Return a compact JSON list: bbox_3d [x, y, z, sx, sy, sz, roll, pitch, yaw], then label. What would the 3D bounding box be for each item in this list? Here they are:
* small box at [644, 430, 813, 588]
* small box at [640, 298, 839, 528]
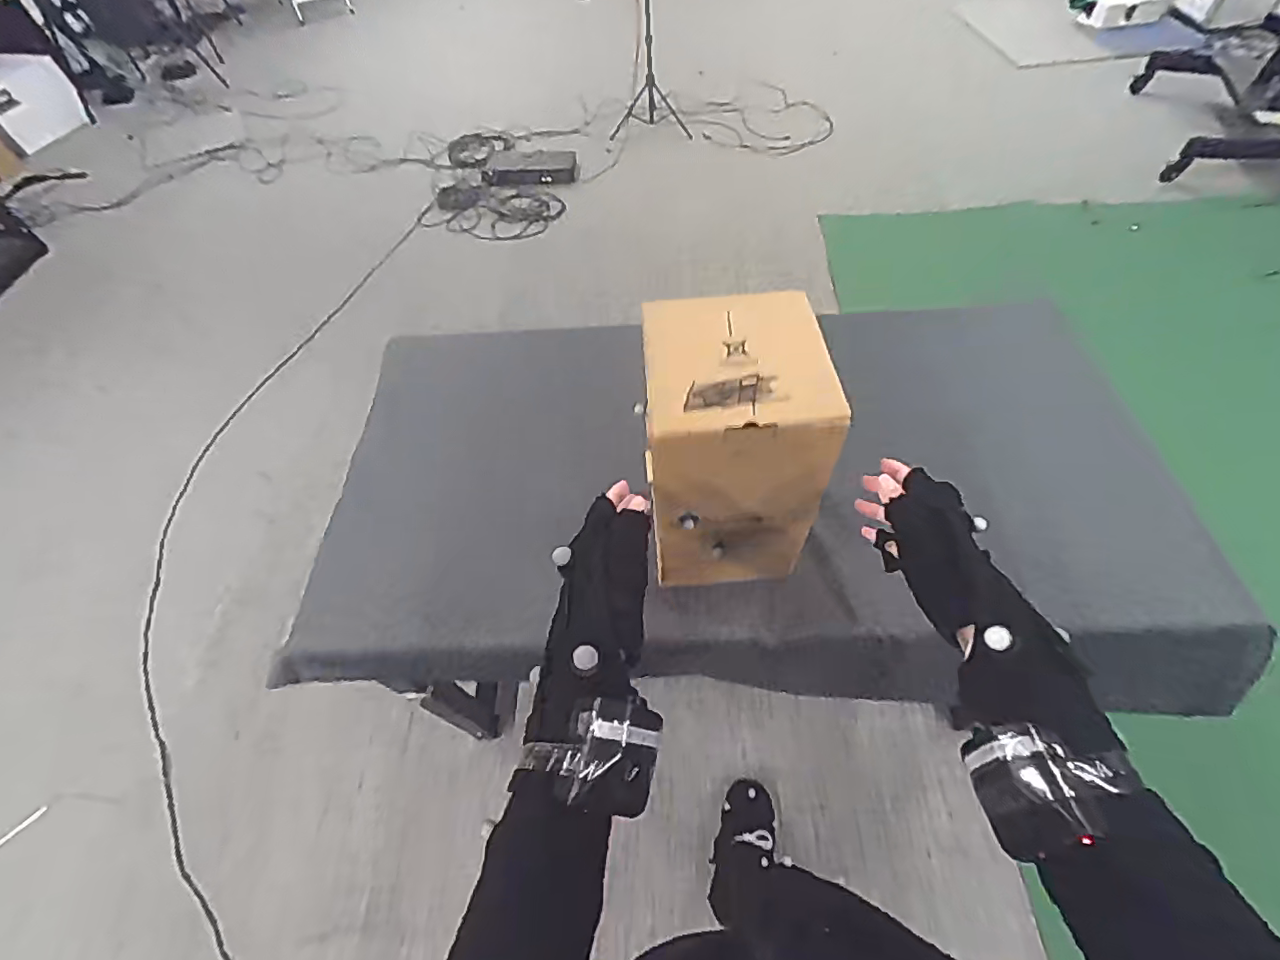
[{"bbox_3d":[0.105,0.027,0.704,0.179,0.176,0.168,-7,53,-1],"label":"small box"},{"bbox_3d":[0.089,-0.060,0.562,0.168,0.176,0.179,-4,53,2],"label":"small box"}]
